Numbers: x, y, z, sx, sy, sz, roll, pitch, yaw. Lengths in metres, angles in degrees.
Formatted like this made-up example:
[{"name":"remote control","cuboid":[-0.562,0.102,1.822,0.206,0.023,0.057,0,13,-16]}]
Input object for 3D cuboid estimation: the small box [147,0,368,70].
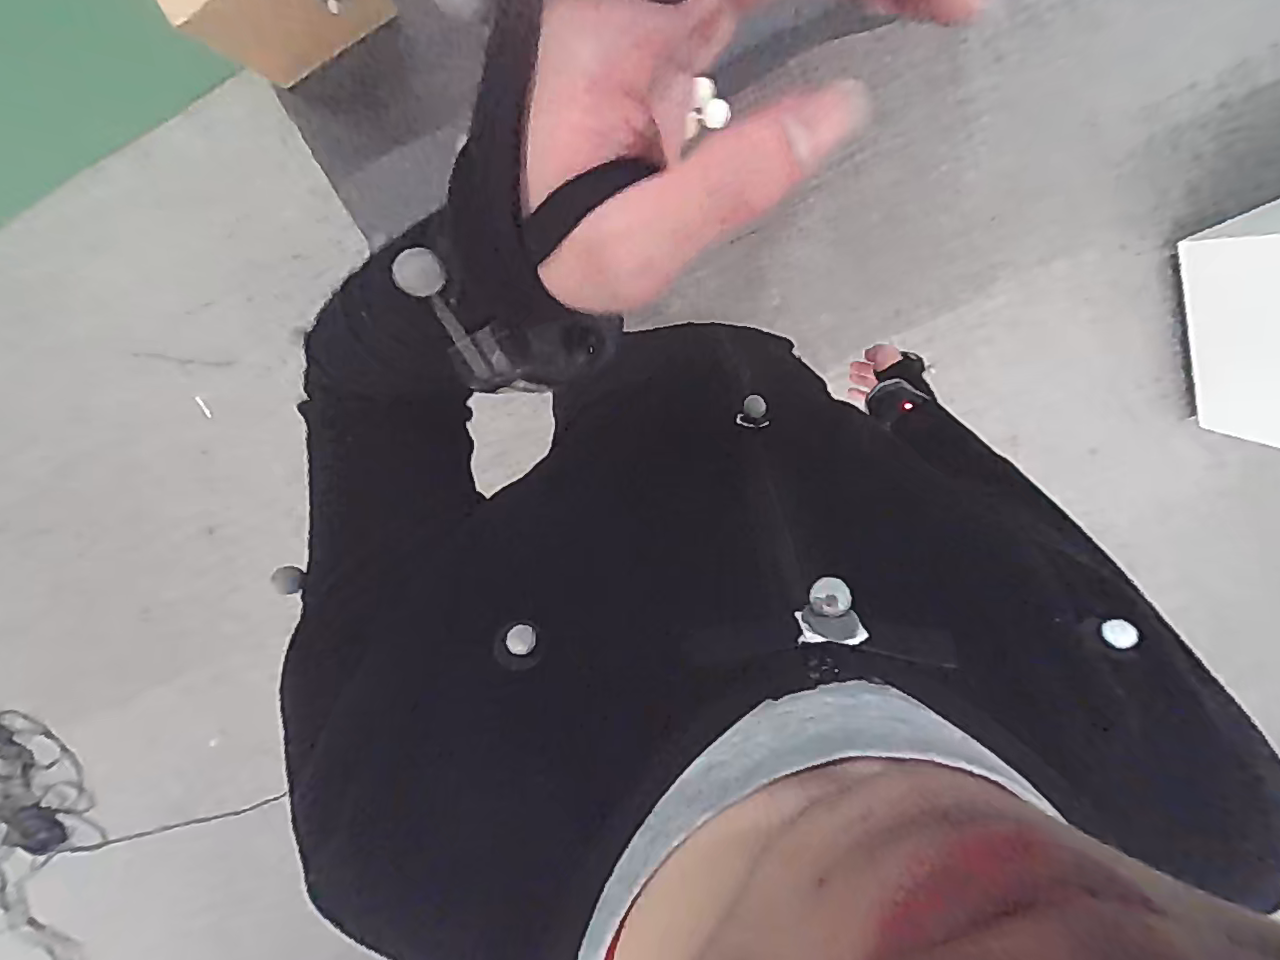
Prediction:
[{"name":"small box","cuboid":[-0.401,-0.559,0.532,0.179,0.176,0.168,-25,106,9]}]
